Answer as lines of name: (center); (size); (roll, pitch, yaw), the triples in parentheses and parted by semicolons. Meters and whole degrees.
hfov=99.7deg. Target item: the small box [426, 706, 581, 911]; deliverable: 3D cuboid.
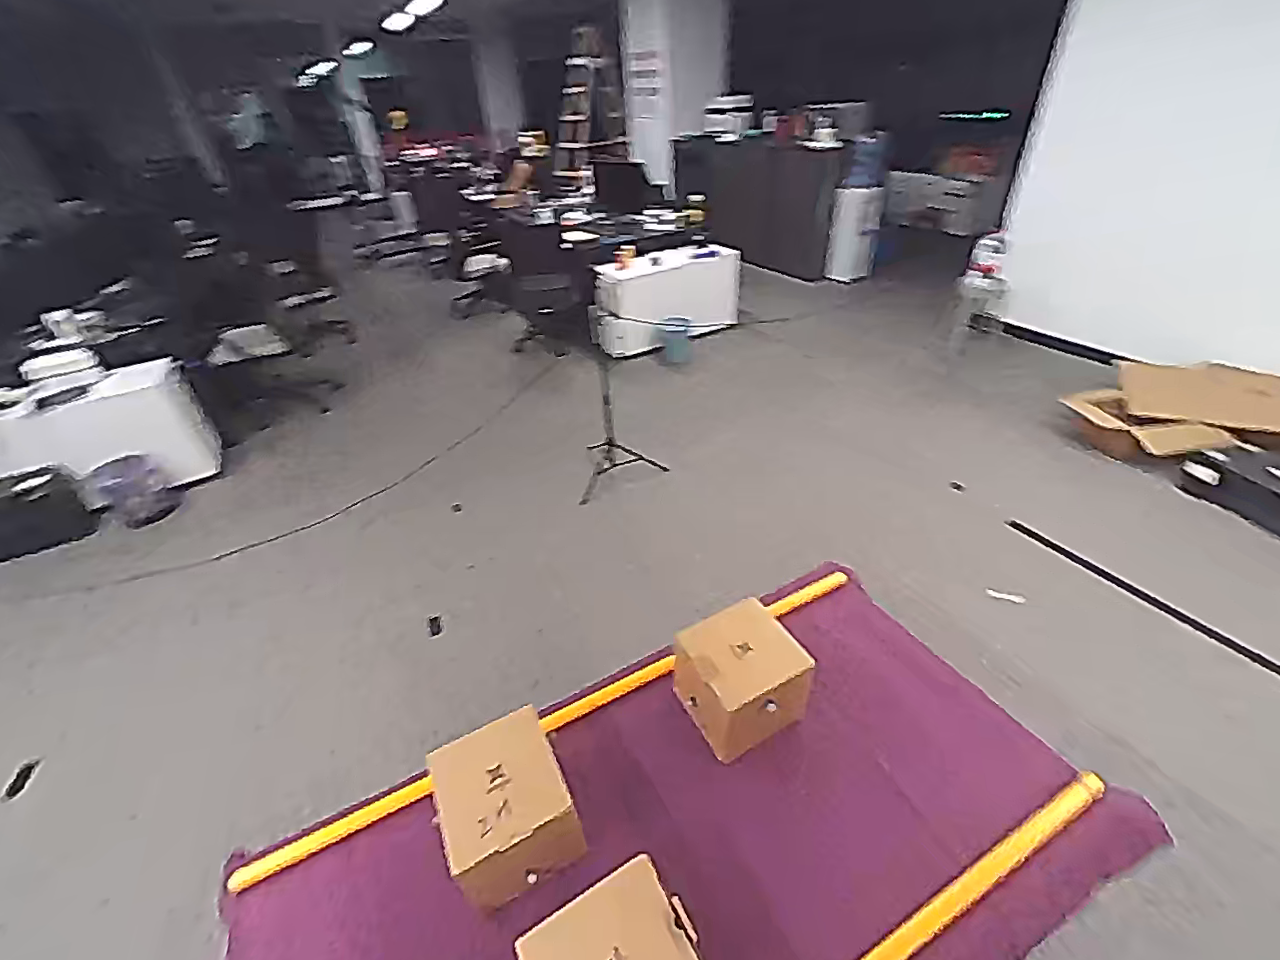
small box: (-0.201, 0.487, 0.808); (0.168, 0.176, 0.179); (-21, 41, -20)

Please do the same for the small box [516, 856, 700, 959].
small box: (-0.025, 0.600, 0.634); (0.179, 0.176, 0.168); (-21, 39, -22)

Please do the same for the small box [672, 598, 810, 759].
small box: (0.169, 0.349, 0.958); (0.179, 0.176, 0.168); (-21, 40, -20)
